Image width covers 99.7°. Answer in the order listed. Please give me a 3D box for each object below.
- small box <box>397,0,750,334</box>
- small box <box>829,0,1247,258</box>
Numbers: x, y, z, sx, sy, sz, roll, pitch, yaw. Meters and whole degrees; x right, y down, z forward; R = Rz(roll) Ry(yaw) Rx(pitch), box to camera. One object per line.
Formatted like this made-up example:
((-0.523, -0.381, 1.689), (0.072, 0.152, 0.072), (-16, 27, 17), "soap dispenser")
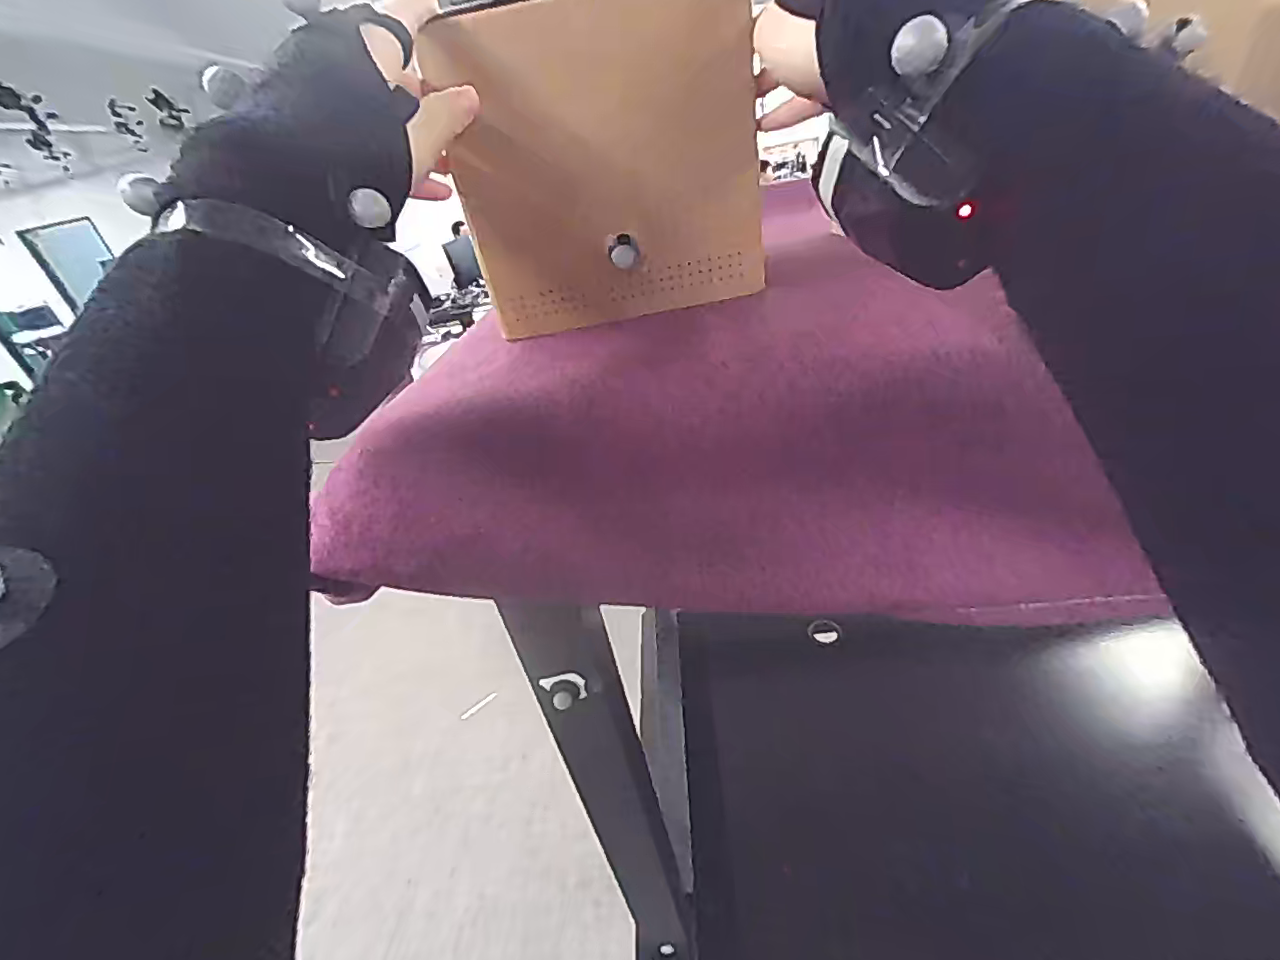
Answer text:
((-0.028, -0.216, 0.371), (0.179, 0.176, 0.168), (-11, 32, 0), "small box")
((0.237, -0.263, 0.362), (0.179, 0.176, 0.168), (-11, 30, 3), "small box")
